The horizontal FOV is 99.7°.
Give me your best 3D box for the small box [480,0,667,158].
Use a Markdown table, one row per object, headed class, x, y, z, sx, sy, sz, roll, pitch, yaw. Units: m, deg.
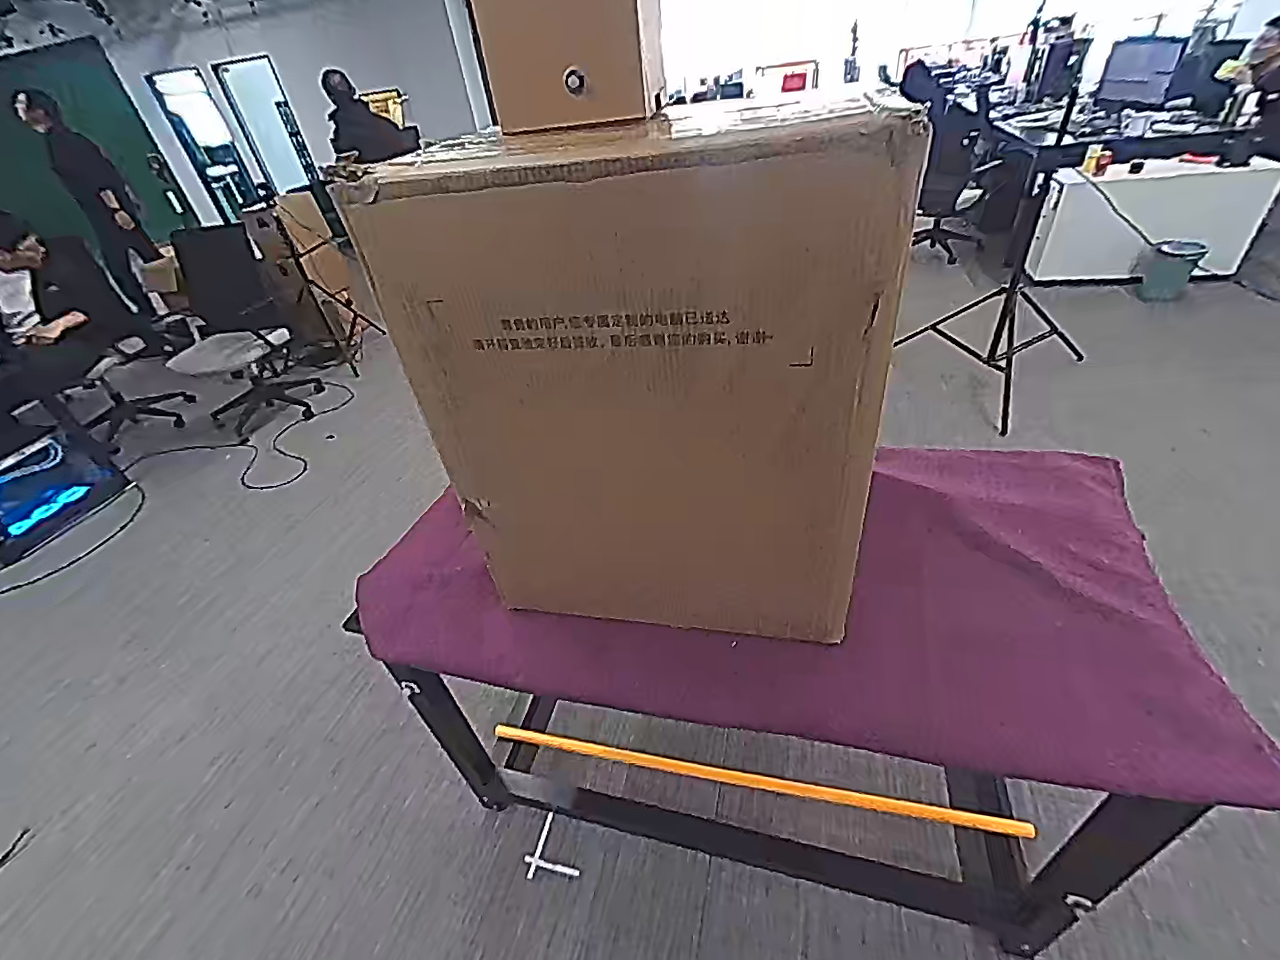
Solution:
| class | x | y | z | sx | sy | sz | roll | pitch | yaw |
| --- | --- | --- | --- | --- | --- | --- | --- | --- | --- |
| small box | -0.070 | -0.498 | 0.639 | 0.179 | 0.176 | 0.168 | 2 | 38 | 12 |
